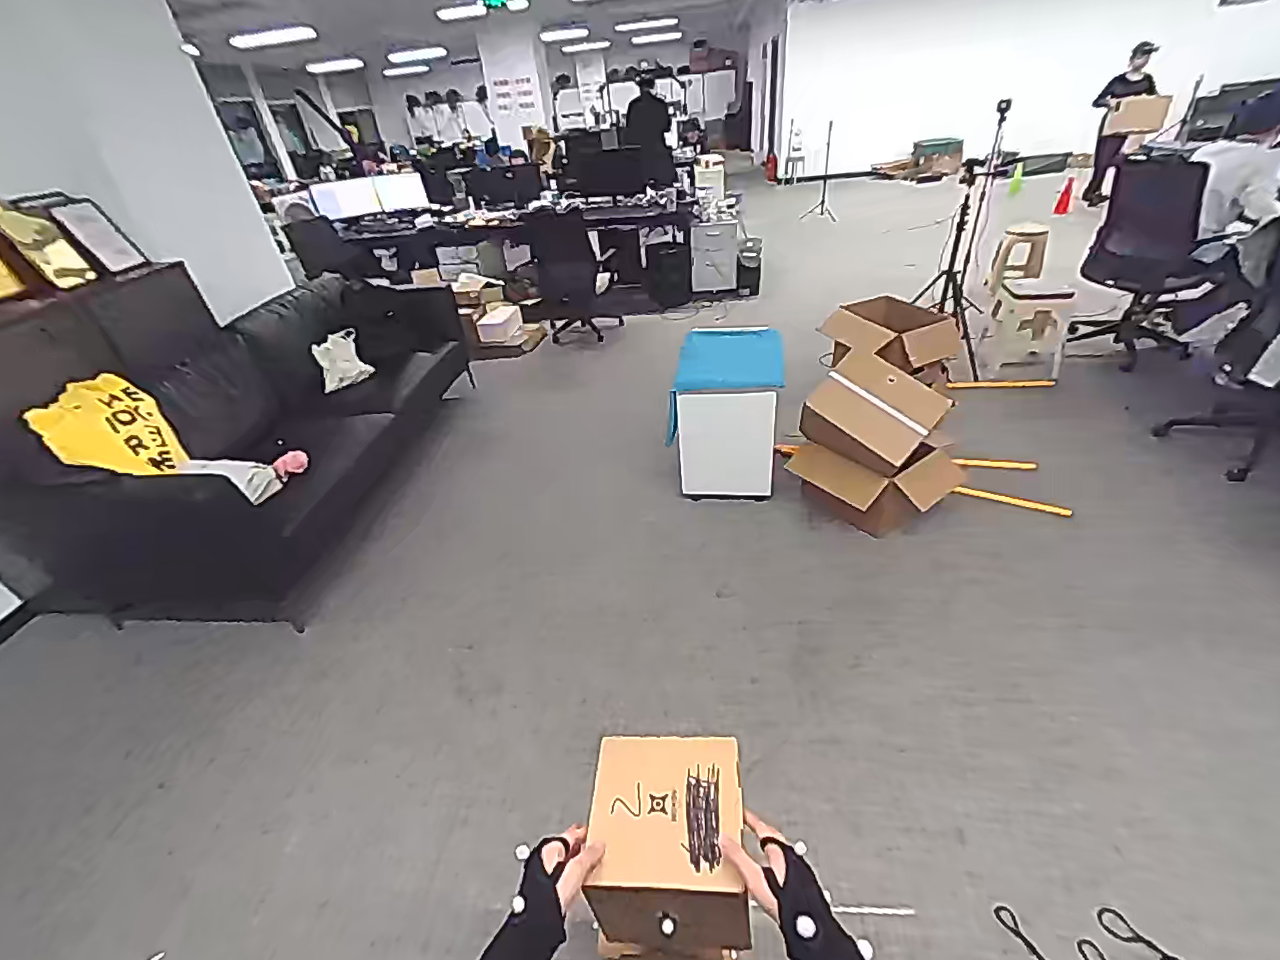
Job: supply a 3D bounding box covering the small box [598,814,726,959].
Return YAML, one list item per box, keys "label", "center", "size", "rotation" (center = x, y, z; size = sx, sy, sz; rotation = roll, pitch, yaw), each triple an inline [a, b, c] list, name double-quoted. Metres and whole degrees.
- label: "small box"
  center: [0.039, 0.627, 0.801]
  size: [0.168, 0.176, 0.179]
  rotation: [-4, 36, 6]
